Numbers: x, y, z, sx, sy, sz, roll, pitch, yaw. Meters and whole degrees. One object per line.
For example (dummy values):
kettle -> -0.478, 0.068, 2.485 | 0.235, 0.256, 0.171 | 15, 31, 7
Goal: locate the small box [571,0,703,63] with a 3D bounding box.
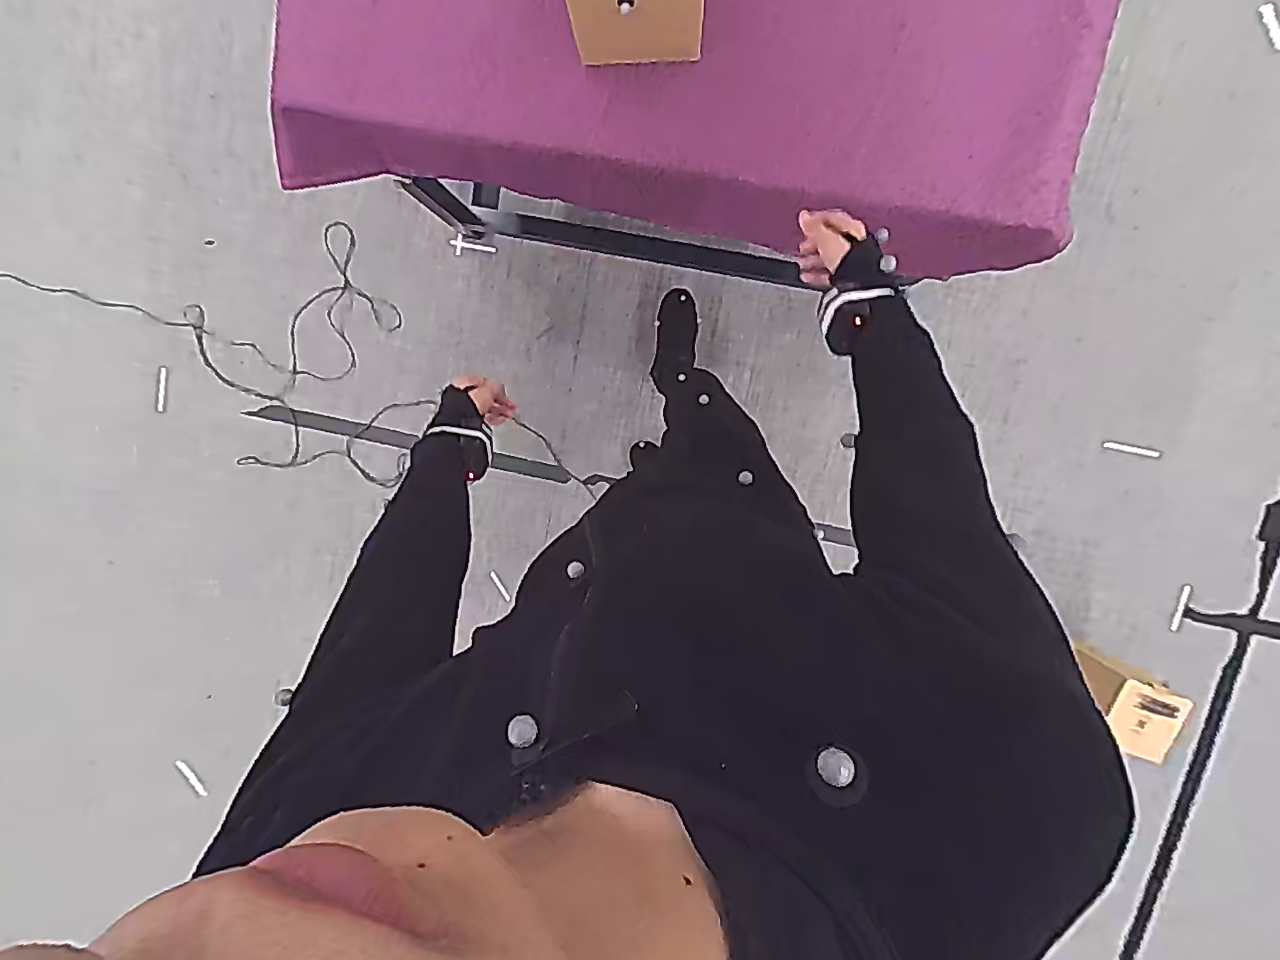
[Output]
small box -> -0.004, -0.687, 0.711 | 0.179, 0.176, 0.168 | 0, 98, 3

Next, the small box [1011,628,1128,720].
small box -> 1.201, 0.539, 1.530 | 0.179, 0.176, 0.168 | 15, 98, 1
